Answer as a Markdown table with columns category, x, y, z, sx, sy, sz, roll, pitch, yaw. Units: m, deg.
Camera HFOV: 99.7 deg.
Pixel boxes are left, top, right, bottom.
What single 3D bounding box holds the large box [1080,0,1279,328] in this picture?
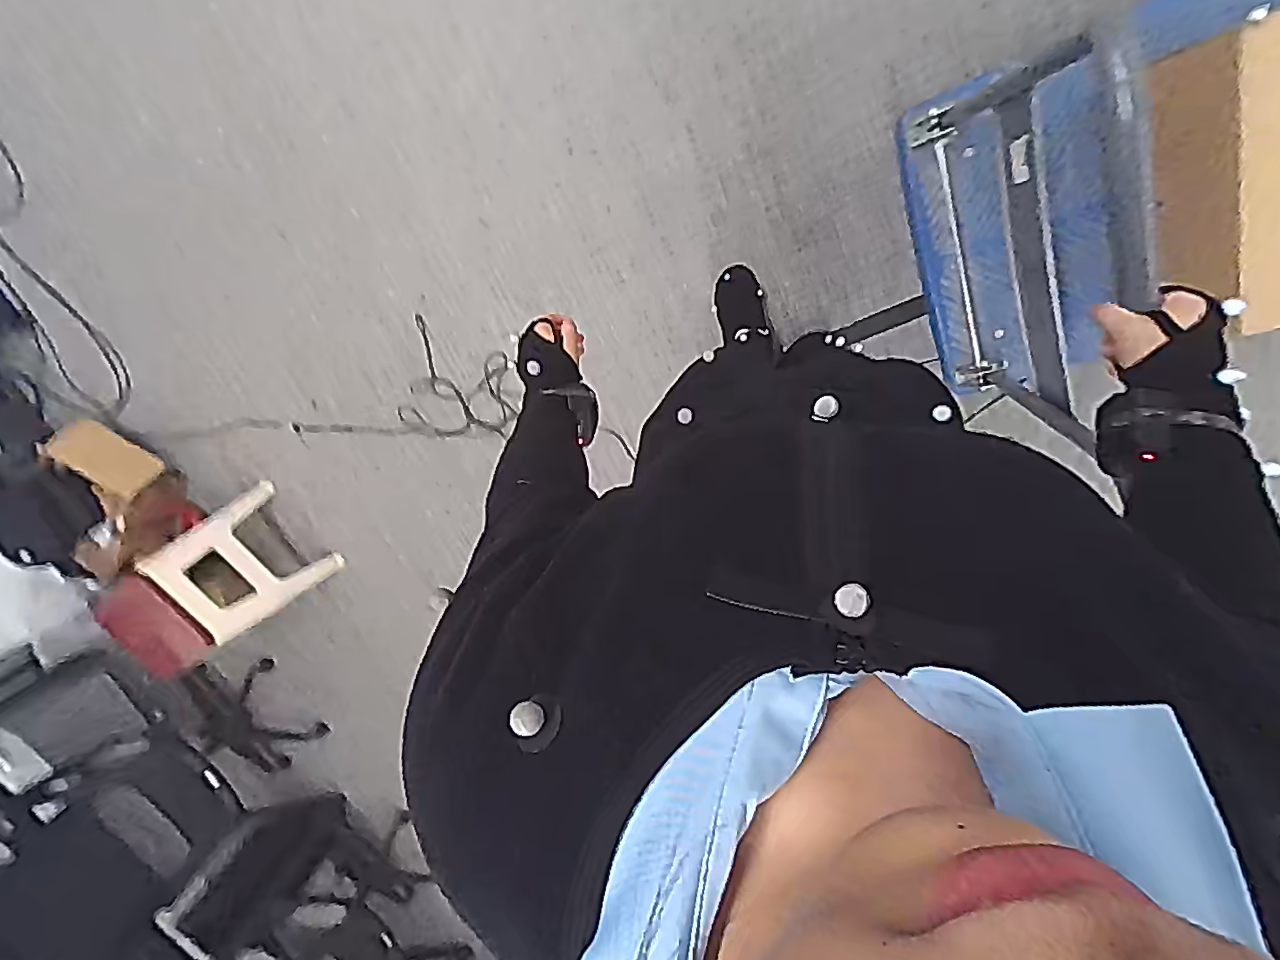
| category | x | y | z | sx | sy | sz | roll | pitch | yaw |
| --- | --- | --- | --- | --- | --- | --- | --- | --- | --- |
| large box | 0.968 | -0.500 | 0.850 | 0.320 | 0.320 | 0.408 | -17 | 108 | 17 |
